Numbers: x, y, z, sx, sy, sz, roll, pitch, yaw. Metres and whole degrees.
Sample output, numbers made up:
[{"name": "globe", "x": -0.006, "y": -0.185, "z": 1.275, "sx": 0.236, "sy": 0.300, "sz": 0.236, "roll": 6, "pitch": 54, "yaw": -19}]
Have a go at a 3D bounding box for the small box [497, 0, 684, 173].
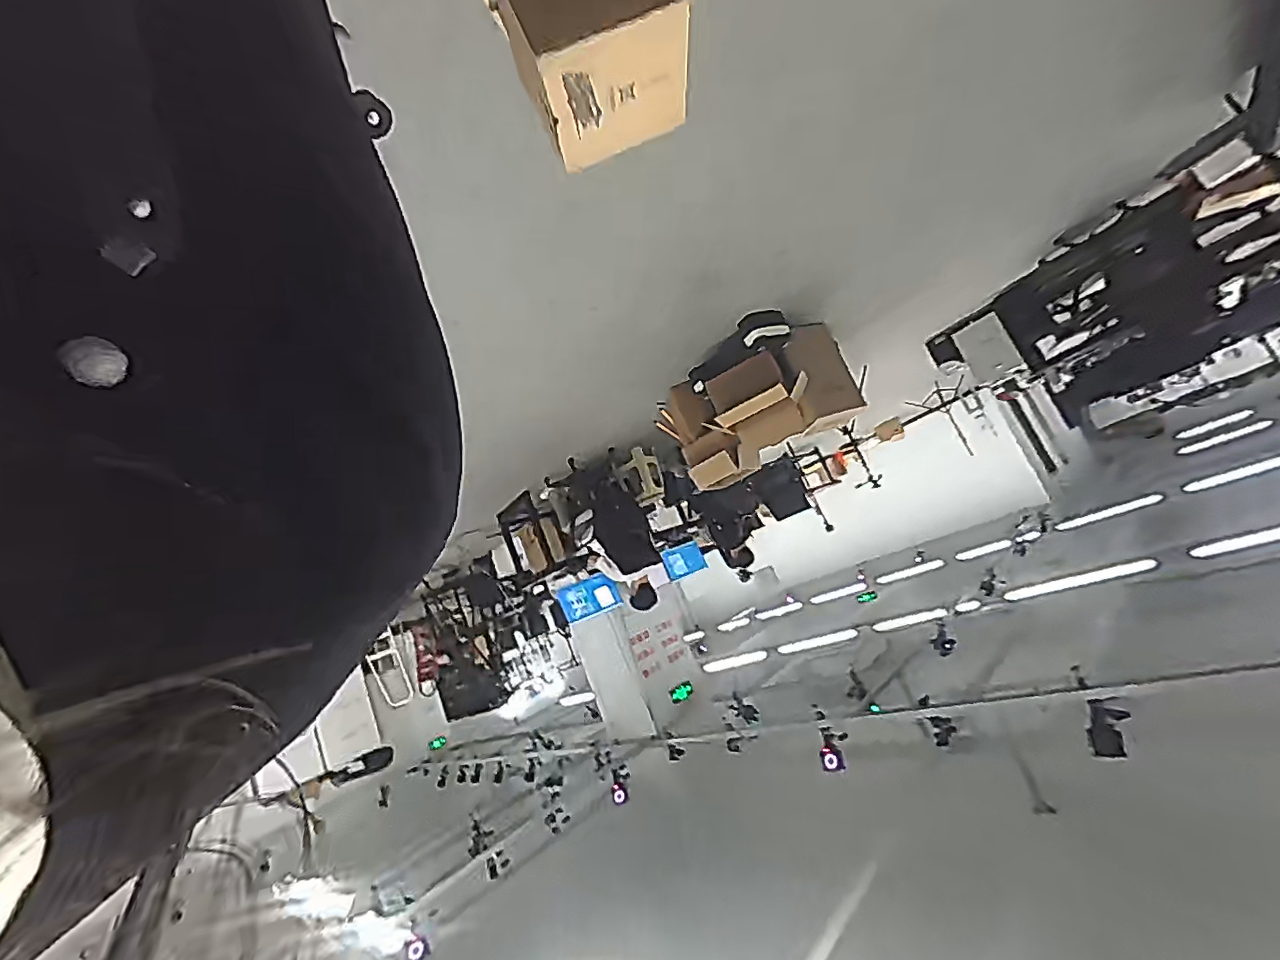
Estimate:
[{"name": "small box", "x": -0.059, "y": -0.523, "z": 0.647, "sx": 0.179, "sy": 0.176, "sz": 0.168, "roll": -23, "pitch": 169, "yaw": 2}]
